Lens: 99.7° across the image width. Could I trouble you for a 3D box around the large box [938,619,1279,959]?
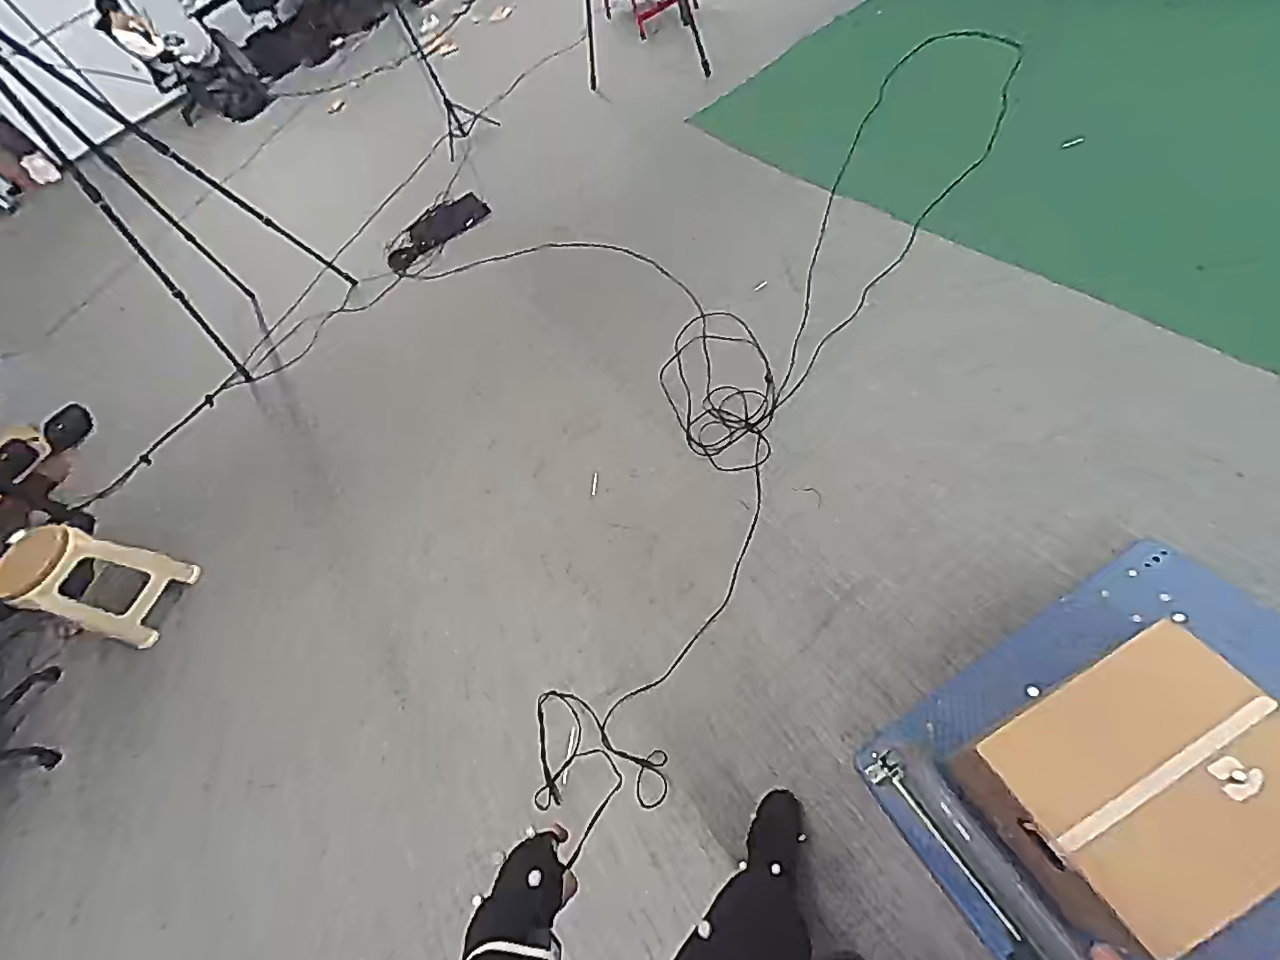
[{"bbox_3d":[0.820,0.522,0.949,0.408,0.320,0.320,-32,56,-3],"label":"large box"}]
